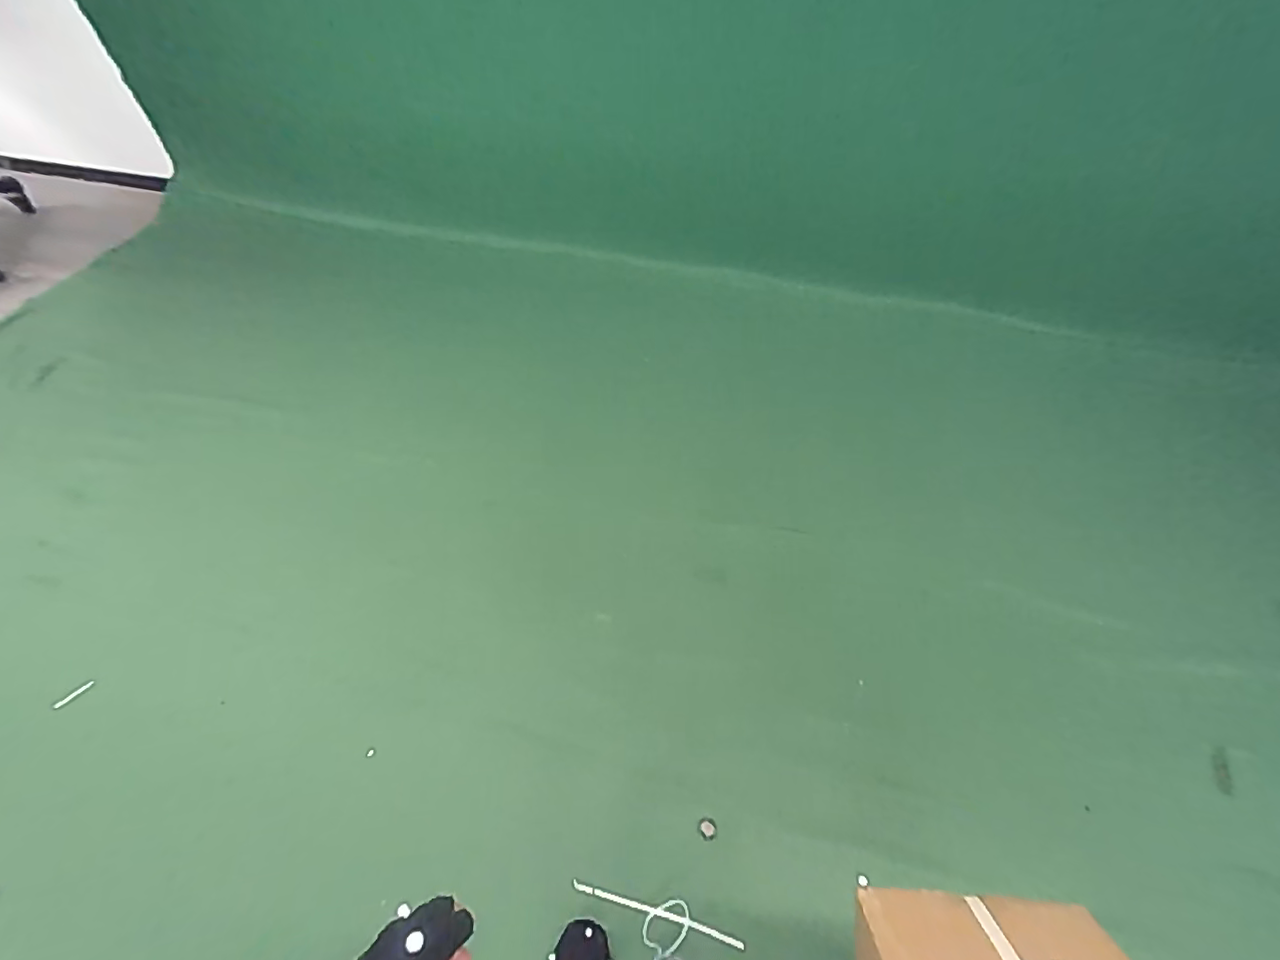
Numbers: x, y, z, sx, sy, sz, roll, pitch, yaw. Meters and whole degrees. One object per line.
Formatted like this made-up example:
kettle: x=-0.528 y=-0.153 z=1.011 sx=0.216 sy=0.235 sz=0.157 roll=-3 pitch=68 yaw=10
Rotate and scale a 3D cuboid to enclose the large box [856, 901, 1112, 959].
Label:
large box: x=0.446 y=0.770 z=0.579 sx=0.320 sy=0.408 sz=0.320 roll=2 pitch=92 yaw=6
